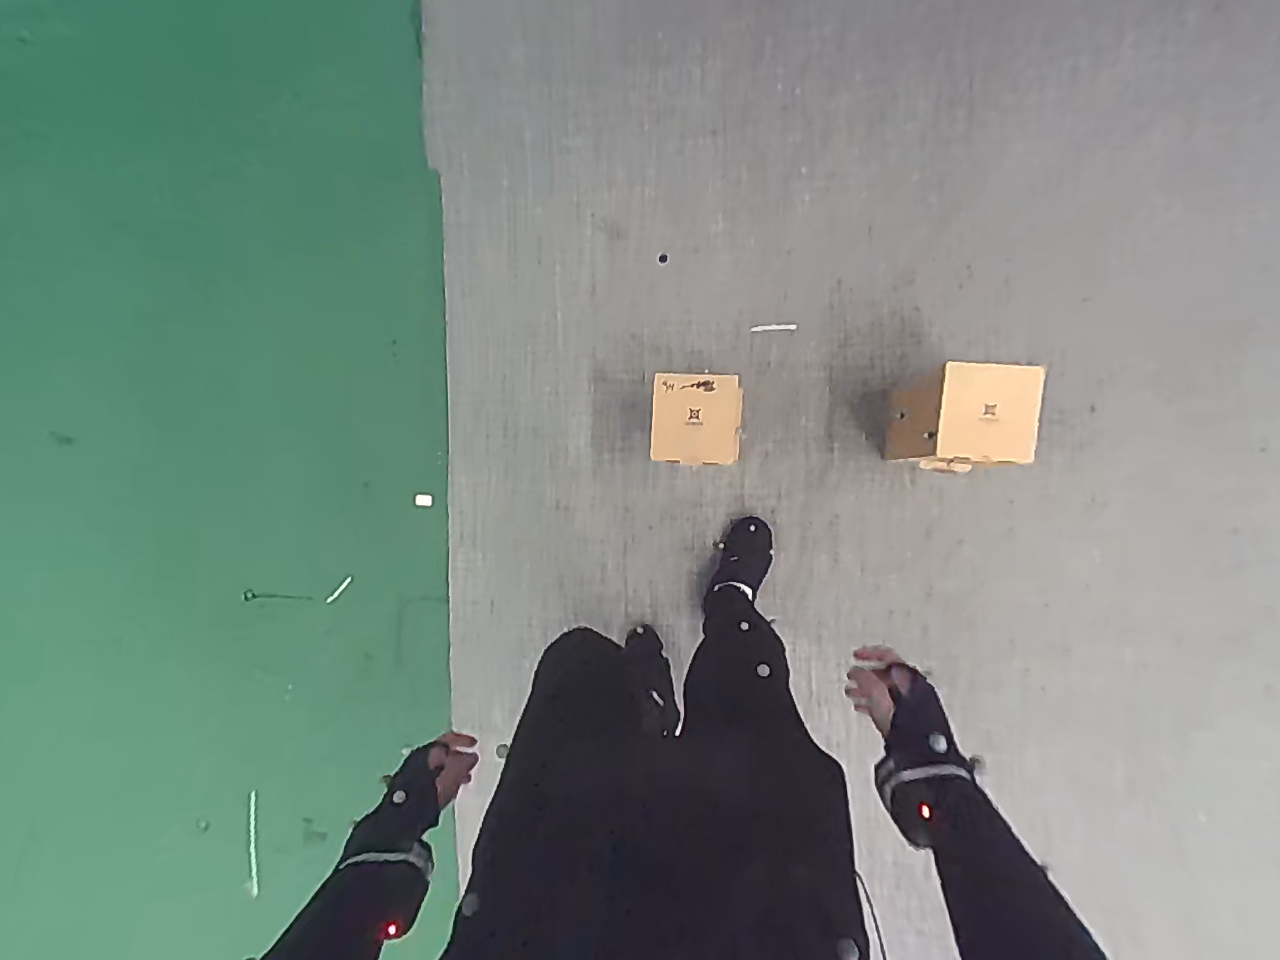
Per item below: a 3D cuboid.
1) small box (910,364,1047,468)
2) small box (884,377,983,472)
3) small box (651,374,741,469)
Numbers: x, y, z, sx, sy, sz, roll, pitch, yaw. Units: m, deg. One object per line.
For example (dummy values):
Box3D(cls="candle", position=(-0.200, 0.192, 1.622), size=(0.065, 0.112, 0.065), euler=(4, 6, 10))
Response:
Box3D(cls="small box", position=(0.639, -0.117, 1.040), size=(0.168, 0.176, 0.179), euler=(6, 93, 9))
Box3D(cls="small box", position=(0.658, -0.118, 1.200), size=(0.168, 0.176, 0.179), euler=(11, 94, 11))
Box3D(cls="small box", position=(0.122, -0.119, 1.128), size=(0.168, 0.176, 0.179), euler=(4, 94, 9))
